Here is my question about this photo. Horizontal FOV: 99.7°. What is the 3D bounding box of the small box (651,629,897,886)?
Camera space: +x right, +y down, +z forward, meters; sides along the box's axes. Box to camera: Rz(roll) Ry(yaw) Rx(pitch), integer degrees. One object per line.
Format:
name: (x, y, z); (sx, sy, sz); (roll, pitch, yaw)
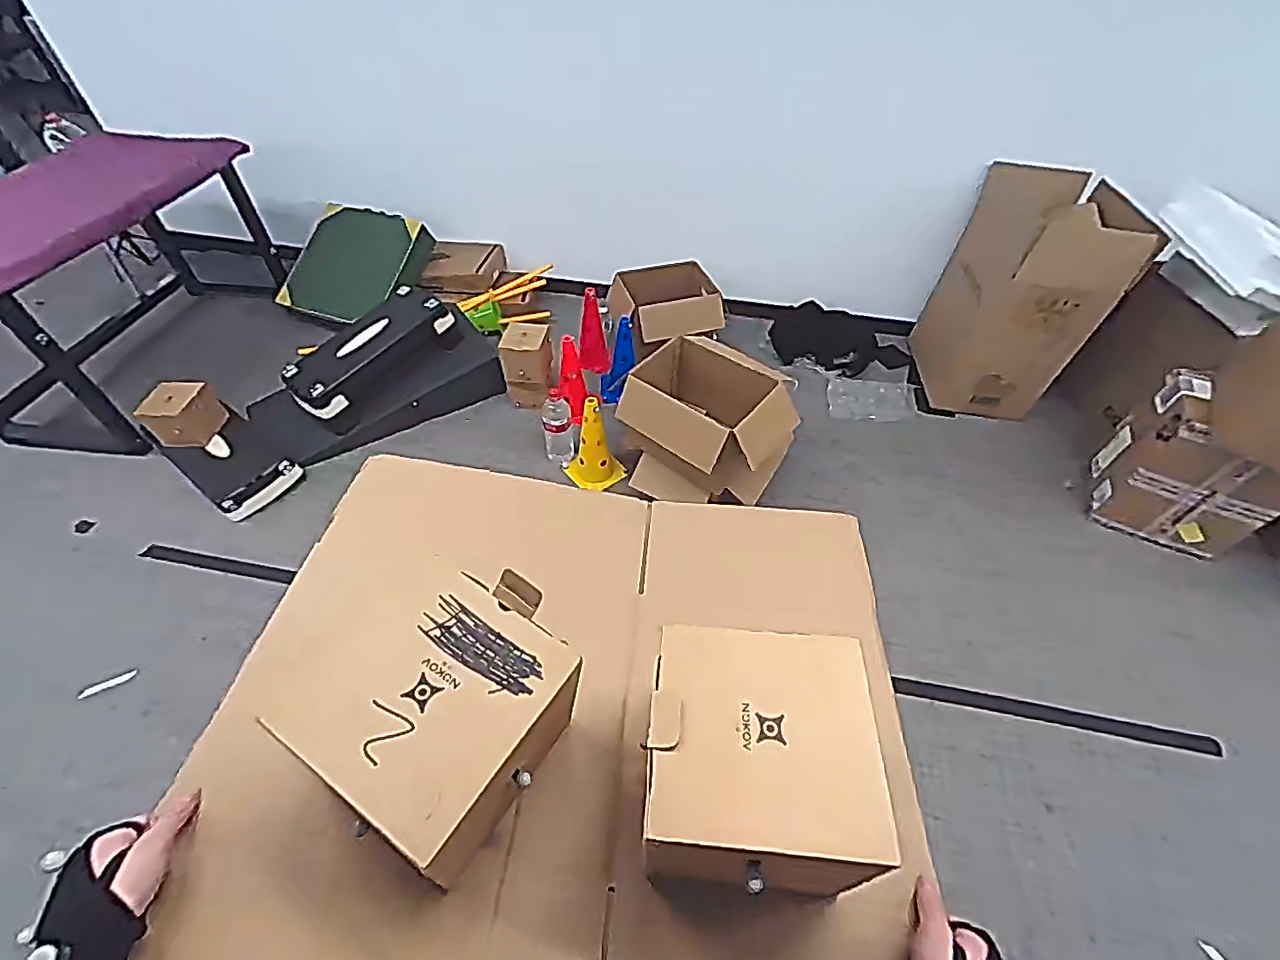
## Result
small box: (0.104, 0.255, 0.494); (0.179, 0.176, 0.168); (3, 47, 5)
